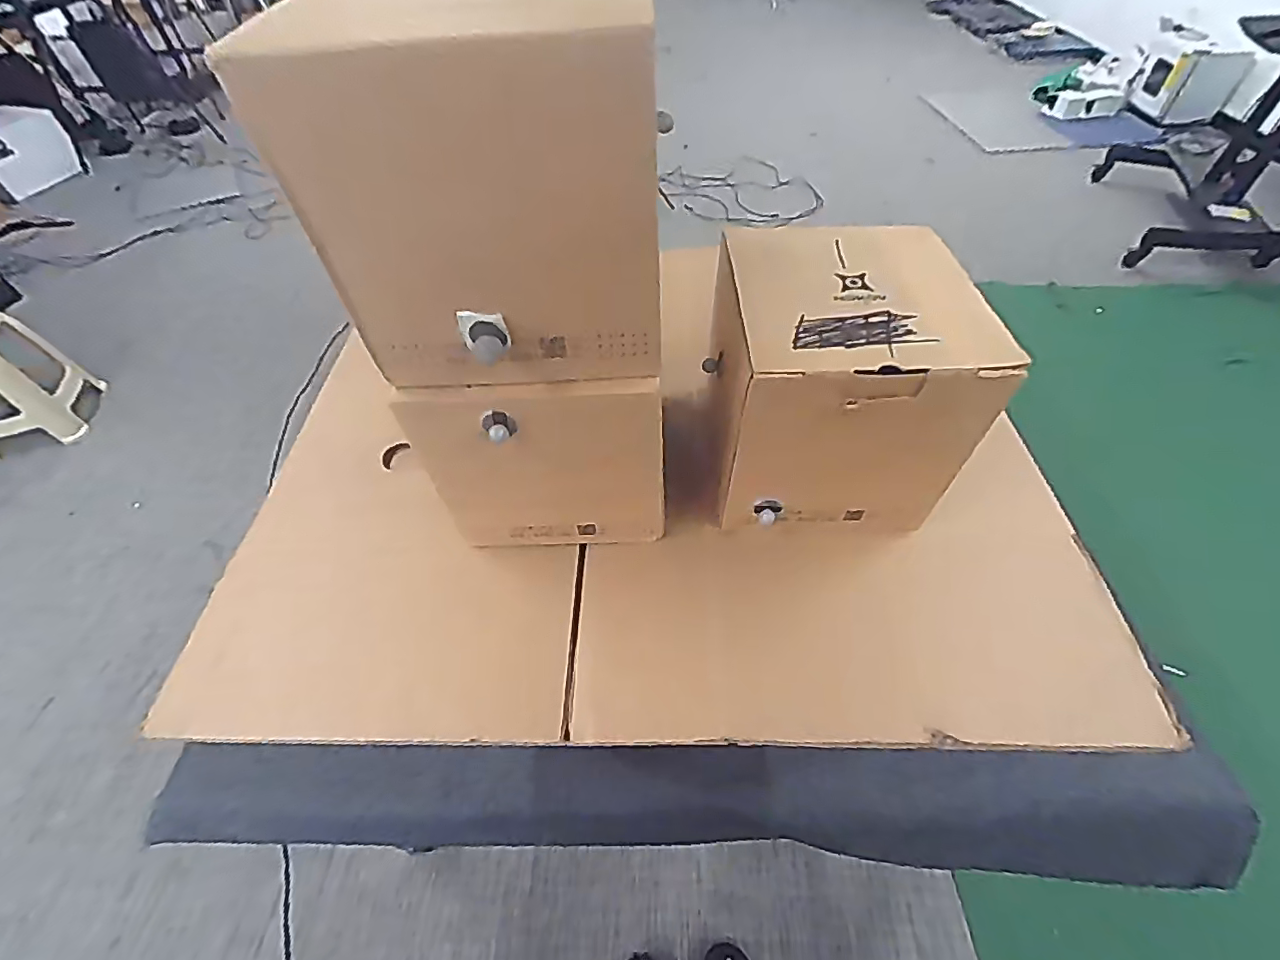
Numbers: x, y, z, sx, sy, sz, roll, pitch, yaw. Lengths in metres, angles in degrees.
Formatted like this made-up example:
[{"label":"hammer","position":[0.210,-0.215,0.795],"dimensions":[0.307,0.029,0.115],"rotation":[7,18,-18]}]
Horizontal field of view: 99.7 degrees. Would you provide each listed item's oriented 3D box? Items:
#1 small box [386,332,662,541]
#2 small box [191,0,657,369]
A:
[{"label":"small box","position":[-0.068,-0.069,0.437],"dimensions":[0.168,0.176,0.179],"rotation":[-2,51,3]},{"label":"small box","position":[-0.078,-0.185,0.302],"dimensions":[0.168,0.176,0.179],"rotation":[-4,53,1]}]
